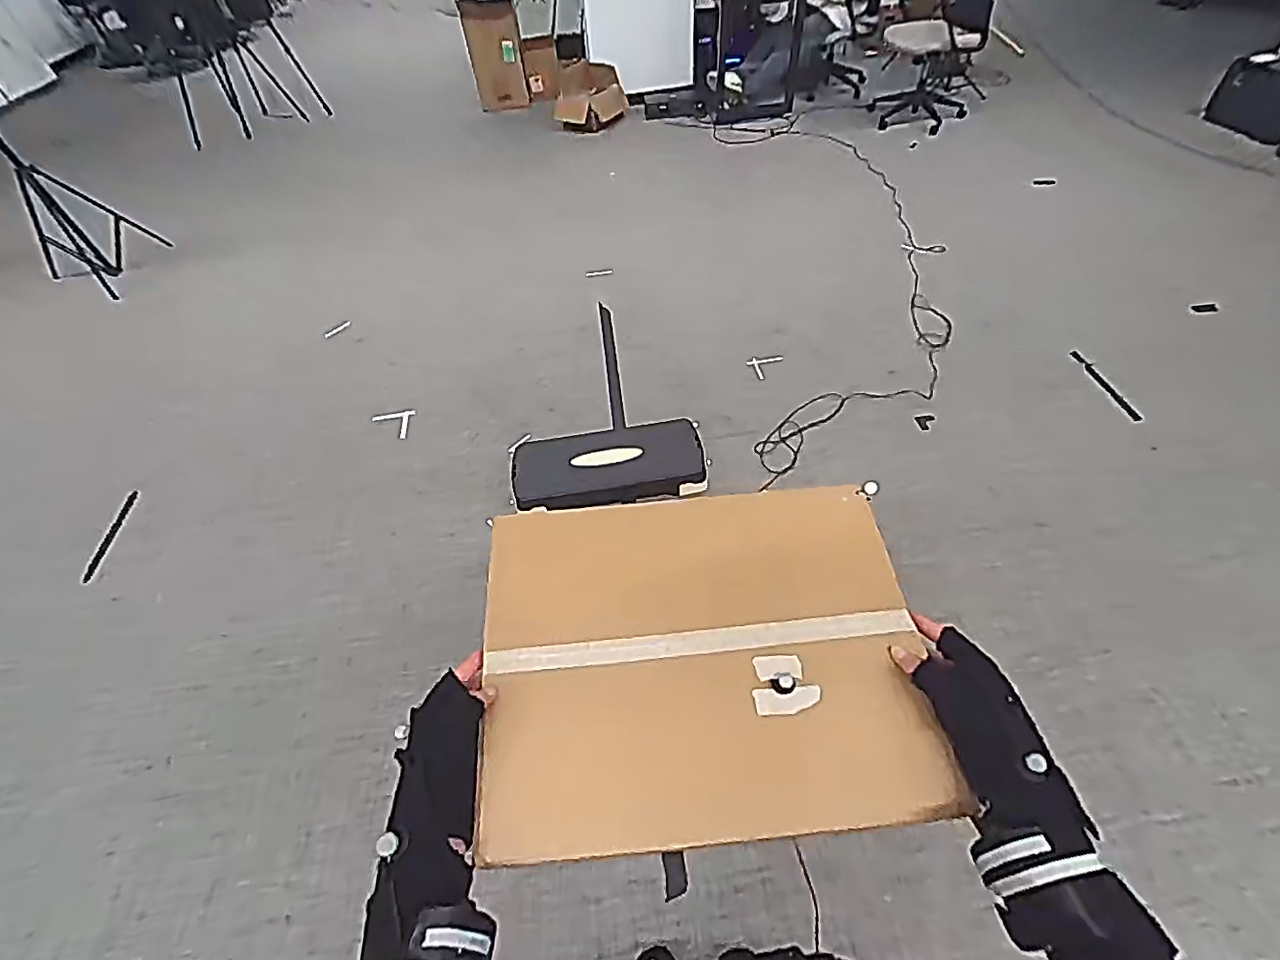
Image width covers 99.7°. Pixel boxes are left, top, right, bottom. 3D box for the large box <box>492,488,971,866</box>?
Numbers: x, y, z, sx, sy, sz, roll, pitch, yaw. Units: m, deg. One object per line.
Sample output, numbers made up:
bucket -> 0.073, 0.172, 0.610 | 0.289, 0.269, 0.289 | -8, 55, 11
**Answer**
large box -> 0.063, 0.237, 0.639 | 0.408, 0.320, 0.320 | -5, 58, -2
